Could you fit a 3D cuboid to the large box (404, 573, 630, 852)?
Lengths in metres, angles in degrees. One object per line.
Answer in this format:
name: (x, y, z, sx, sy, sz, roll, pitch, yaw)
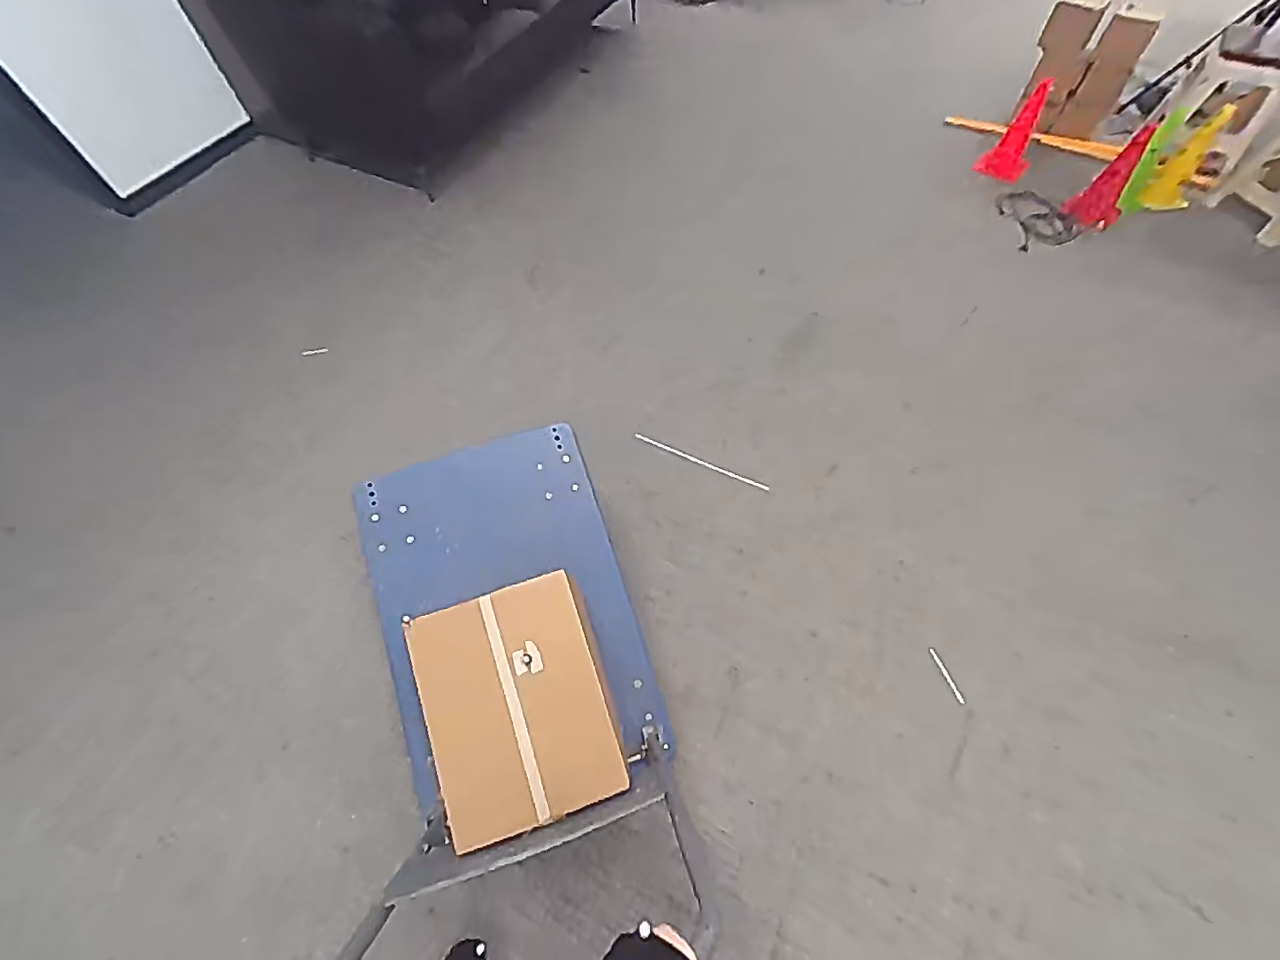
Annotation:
large box: (-0.233, 0.444, 1.121, 0.320, 0.320, 0.408, -19, 77, -8)
